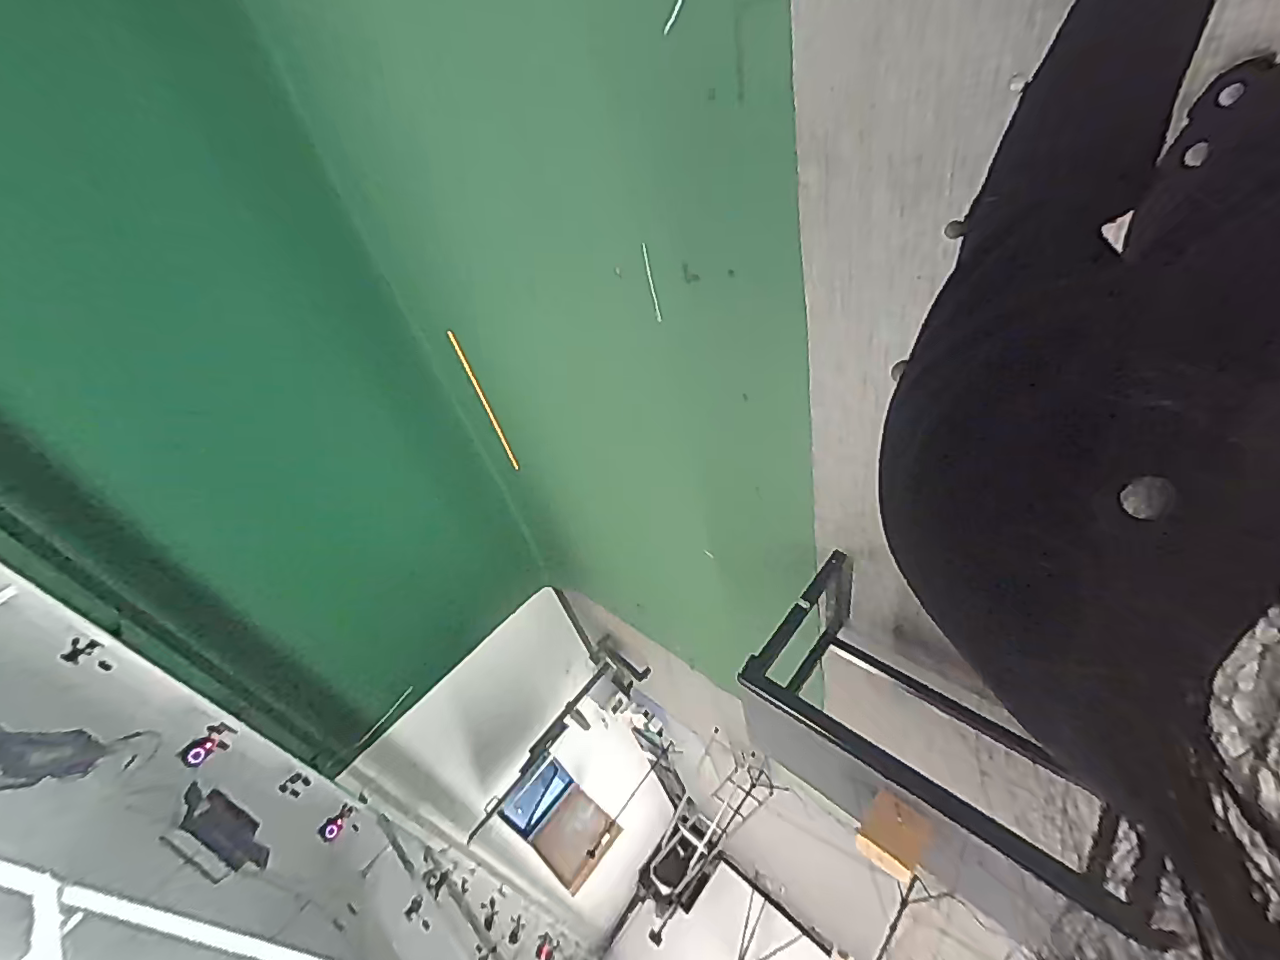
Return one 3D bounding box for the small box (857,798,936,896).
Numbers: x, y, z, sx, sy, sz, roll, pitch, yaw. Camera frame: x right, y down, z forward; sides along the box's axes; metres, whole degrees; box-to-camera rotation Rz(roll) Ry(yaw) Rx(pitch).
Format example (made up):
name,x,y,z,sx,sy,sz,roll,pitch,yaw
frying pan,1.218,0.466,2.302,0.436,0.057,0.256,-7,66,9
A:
name,x,y,z,sx,sy,sz,roll,pitch,yaw
small box,0.804,1.148,1.698,0.168,0.176,0.179,25,145,36
